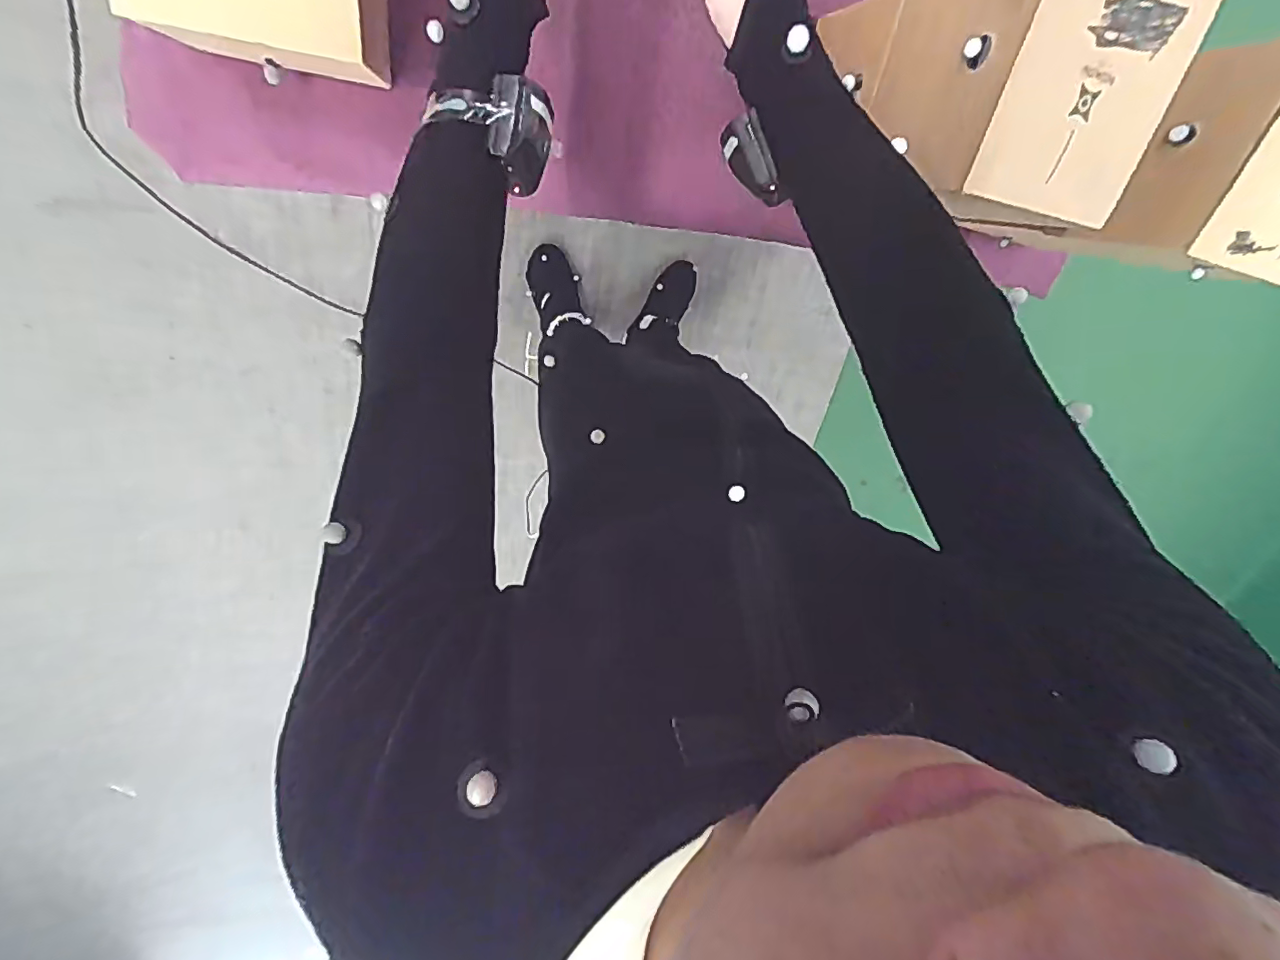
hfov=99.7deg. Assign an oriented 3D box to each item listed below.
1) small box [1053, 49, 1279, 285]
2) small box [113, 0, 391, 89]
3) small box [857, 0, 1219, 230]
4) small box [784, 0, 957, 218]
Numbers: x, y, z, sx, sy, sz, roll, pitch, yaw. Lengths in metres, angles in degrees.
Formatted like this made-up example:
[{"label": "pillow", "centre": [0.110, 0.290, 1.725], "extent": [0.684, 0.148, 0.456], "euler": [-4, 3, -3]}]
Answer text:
[{"label": "small box", "centre": [0.601, -0.325, 0.574], "extent": [0.168, 0.176, 0.179], "euler": [5, 117, -17]}, {"label": "small box", "centre": [-0.306, -0.448, 0.439], "extent": [0.168, 0.176, 0.179], "euler": [1, 119, -16]}, {"label": "small box", "centre": [0.331, -0.343, 0.491], "extent": [0.168, 0.176, 0.179], "euler": [3, 118, -17]}, {"label": "small box", "centre": [0.291, -0.420, 0.630], "extent": [0.168, 0.176, 0.179], "euler": [3, 117, -17]}]
